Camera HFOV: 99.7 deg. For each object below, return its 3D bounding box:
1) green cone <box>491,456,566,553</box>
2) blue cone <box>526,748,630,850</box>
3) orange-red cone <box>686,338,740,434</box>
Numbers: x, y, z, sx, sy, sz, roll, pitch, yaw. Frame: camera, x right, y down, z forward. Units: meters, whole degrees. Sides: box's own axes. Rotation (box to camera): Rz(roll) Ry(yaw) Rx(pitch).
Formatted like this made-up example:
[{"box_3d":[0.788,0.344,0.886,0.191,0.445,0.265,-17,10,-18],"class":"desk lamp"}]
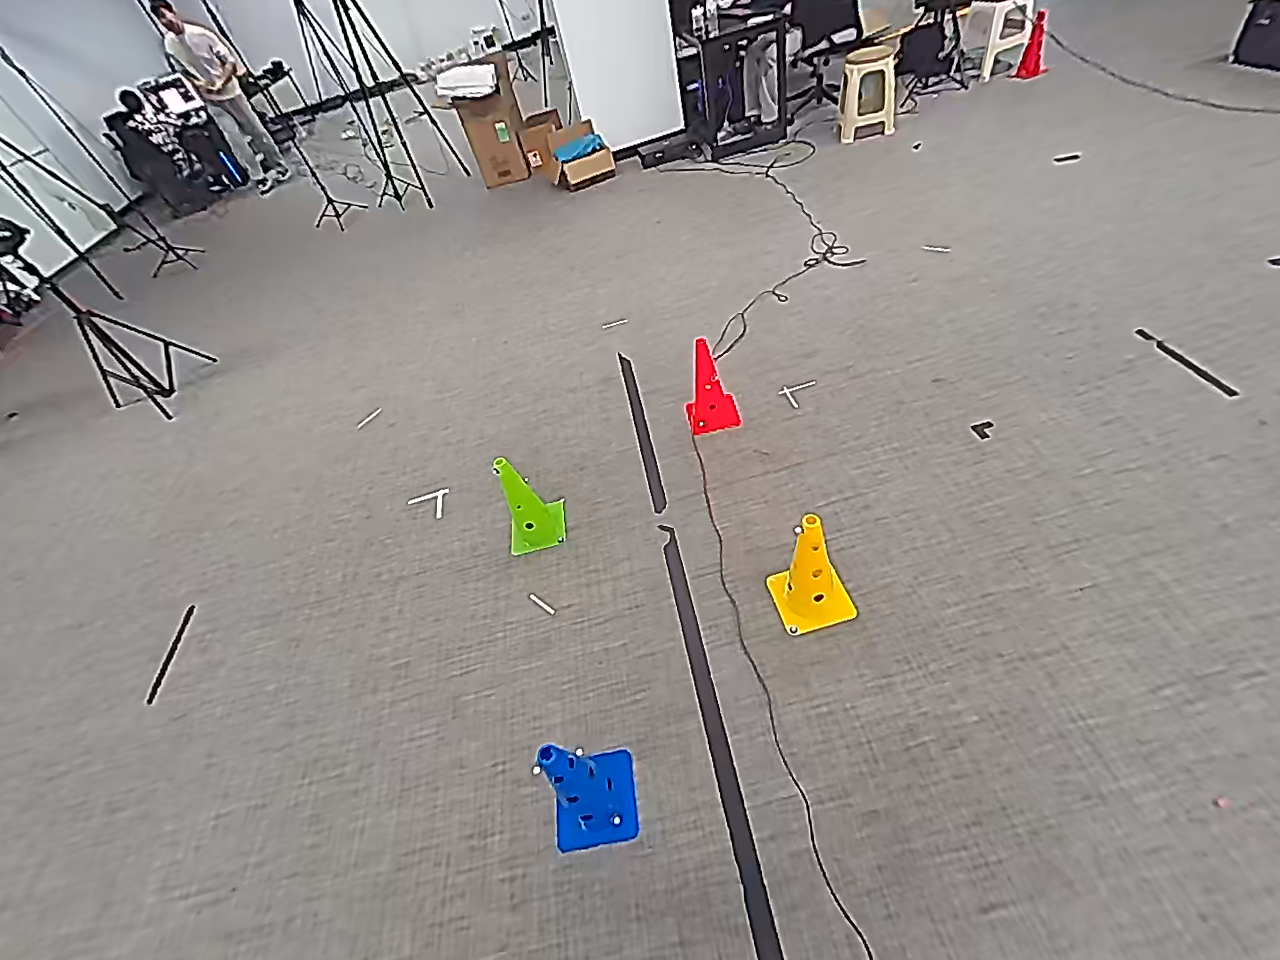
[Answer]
[{"box_3d":[-0.408,0.051,1.835,0.202,0.368,0.200,-16,46,4],"class":"green cone"},{"box_3d":[-0.158,0.670,1.203,0.192,0.380,0.193,-13,45,6],"class":"blue cone"},{"box_3d":[0.256,-0.375,2.037,0.199,0.360,0.198,-11,47,5],"class":"orange-red cone"}]
